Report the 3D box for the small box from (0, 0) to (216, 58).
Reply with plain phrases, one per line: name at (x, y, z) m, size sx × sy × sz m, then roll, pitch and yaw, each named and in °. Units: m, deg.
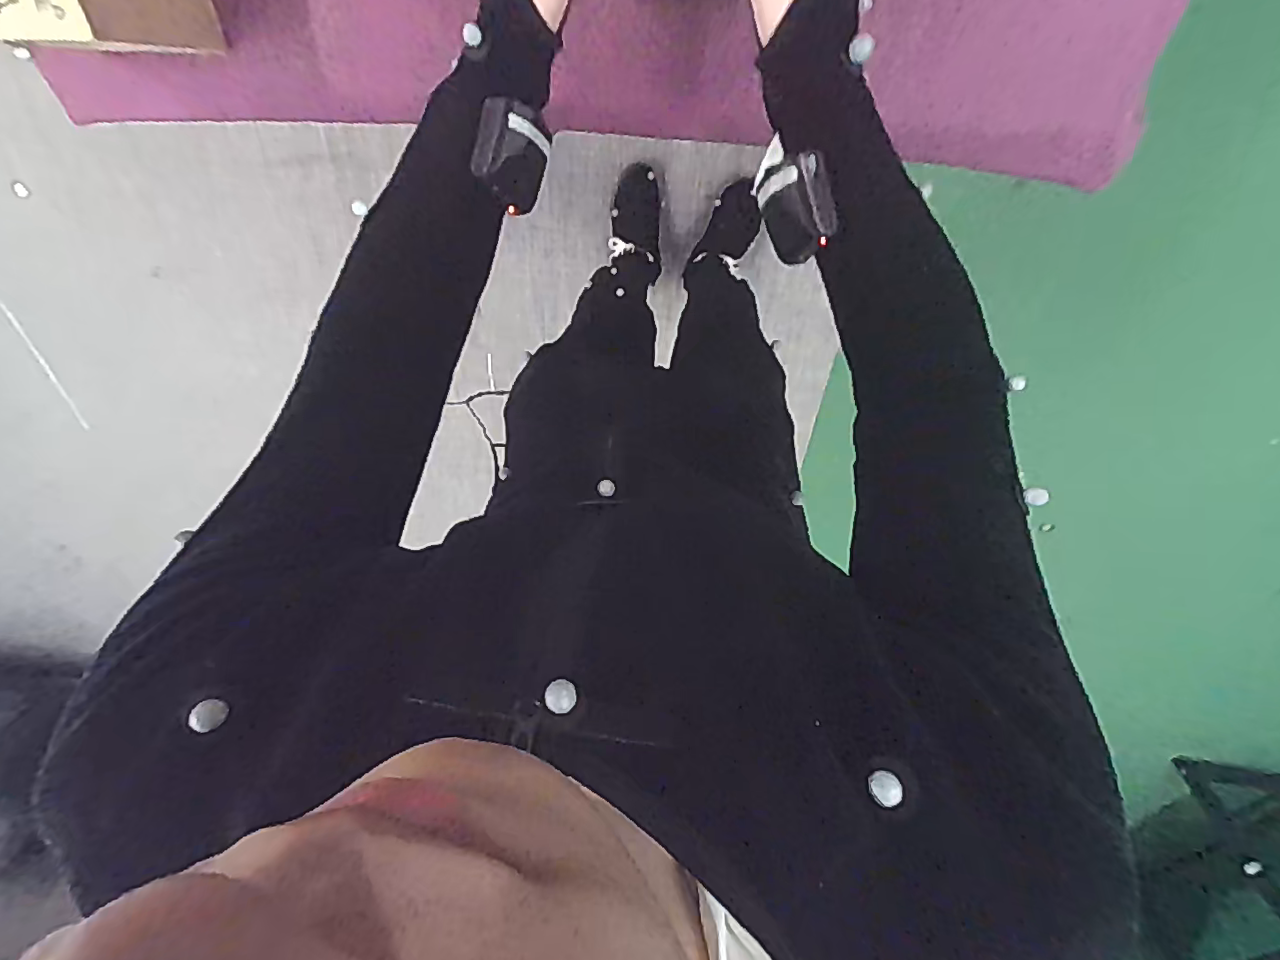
small box at (-0.541, -0.493, 0.480) m, size 0.168 × 0.176 × 0.179 m, roll 4°, pitch 126°, yaw 3°
